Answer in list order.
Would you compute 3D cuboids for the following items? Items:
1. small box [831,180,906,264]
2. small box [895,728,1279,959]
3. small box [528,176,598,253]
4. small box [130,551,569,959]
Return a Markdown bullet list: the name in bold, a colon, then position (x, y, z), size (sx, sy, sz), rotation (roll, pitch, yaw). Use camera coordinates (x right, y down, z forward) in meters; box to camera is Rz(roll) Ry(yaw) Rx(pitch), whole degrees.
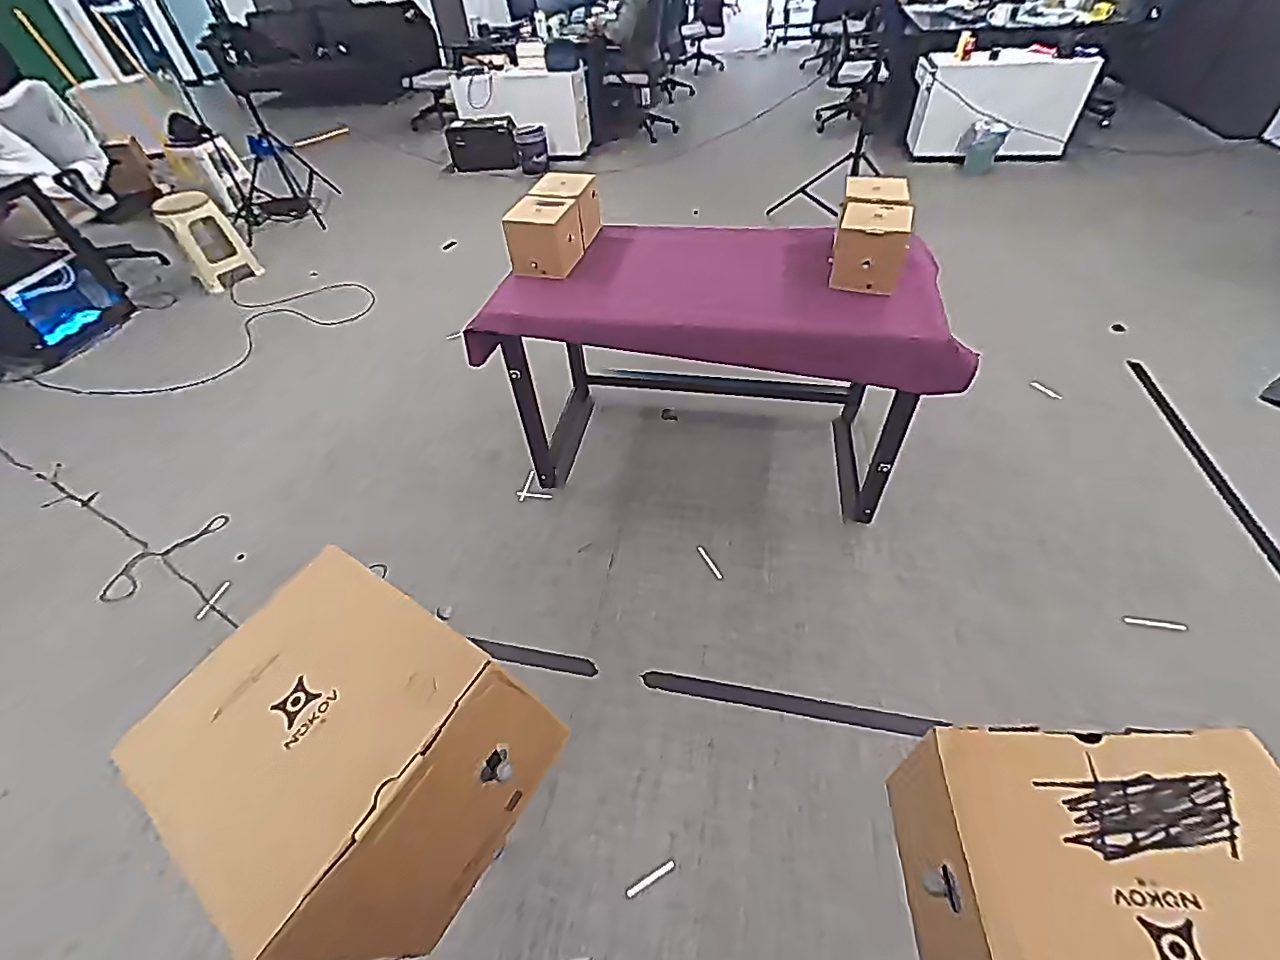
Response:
- **small box**: position (0.660, -0.754, 1.580), size (0.168, 0.176, 0.179), rotation (9, 48, 12)
- **small box**: position (0.266, 0.263, 0.320), size (0.168, 0.176, 0.179), rotation (-4, 51, 10)
- **small box**: position (-0.240, -0.855, 1.736), size (0.168, 0.176, 0.179), rotation (9, 49, 13)
- **small box**: position (-0.176, 0.185, 0.379), size (0.179, 0.176, 0.168), rotation (21, 59, 28)
